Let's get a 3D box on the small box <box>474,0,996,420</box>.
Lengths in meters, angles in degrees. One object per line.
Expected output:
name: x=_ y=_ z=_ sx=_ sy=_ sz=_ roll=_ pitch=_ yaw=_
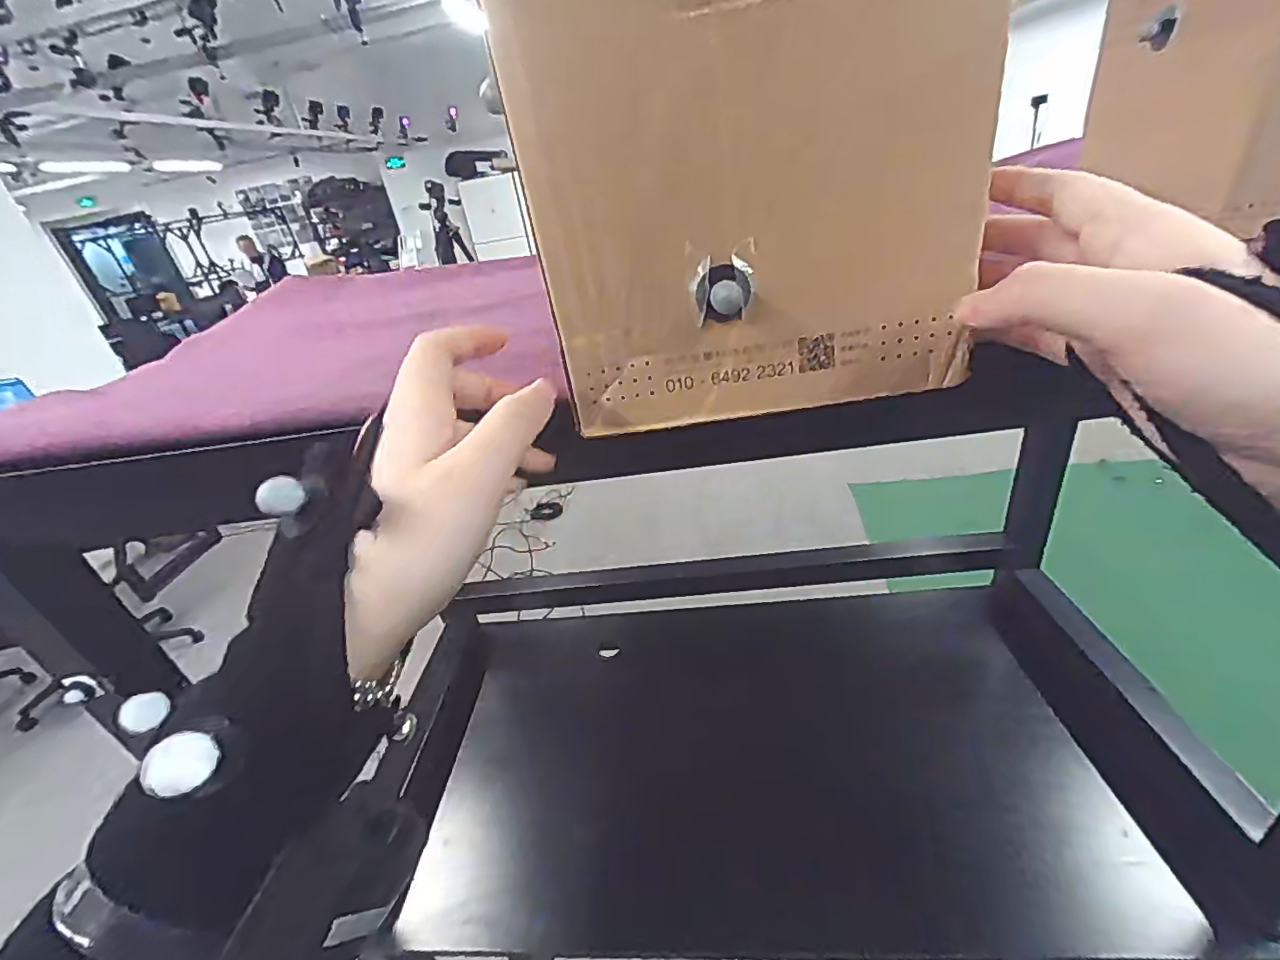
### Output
small box: x=0.038 y=-0.145 z=0.266 sx=0.168 sy=0.176 sz=0.179 roll=-8 pitch=30 yaw=5
